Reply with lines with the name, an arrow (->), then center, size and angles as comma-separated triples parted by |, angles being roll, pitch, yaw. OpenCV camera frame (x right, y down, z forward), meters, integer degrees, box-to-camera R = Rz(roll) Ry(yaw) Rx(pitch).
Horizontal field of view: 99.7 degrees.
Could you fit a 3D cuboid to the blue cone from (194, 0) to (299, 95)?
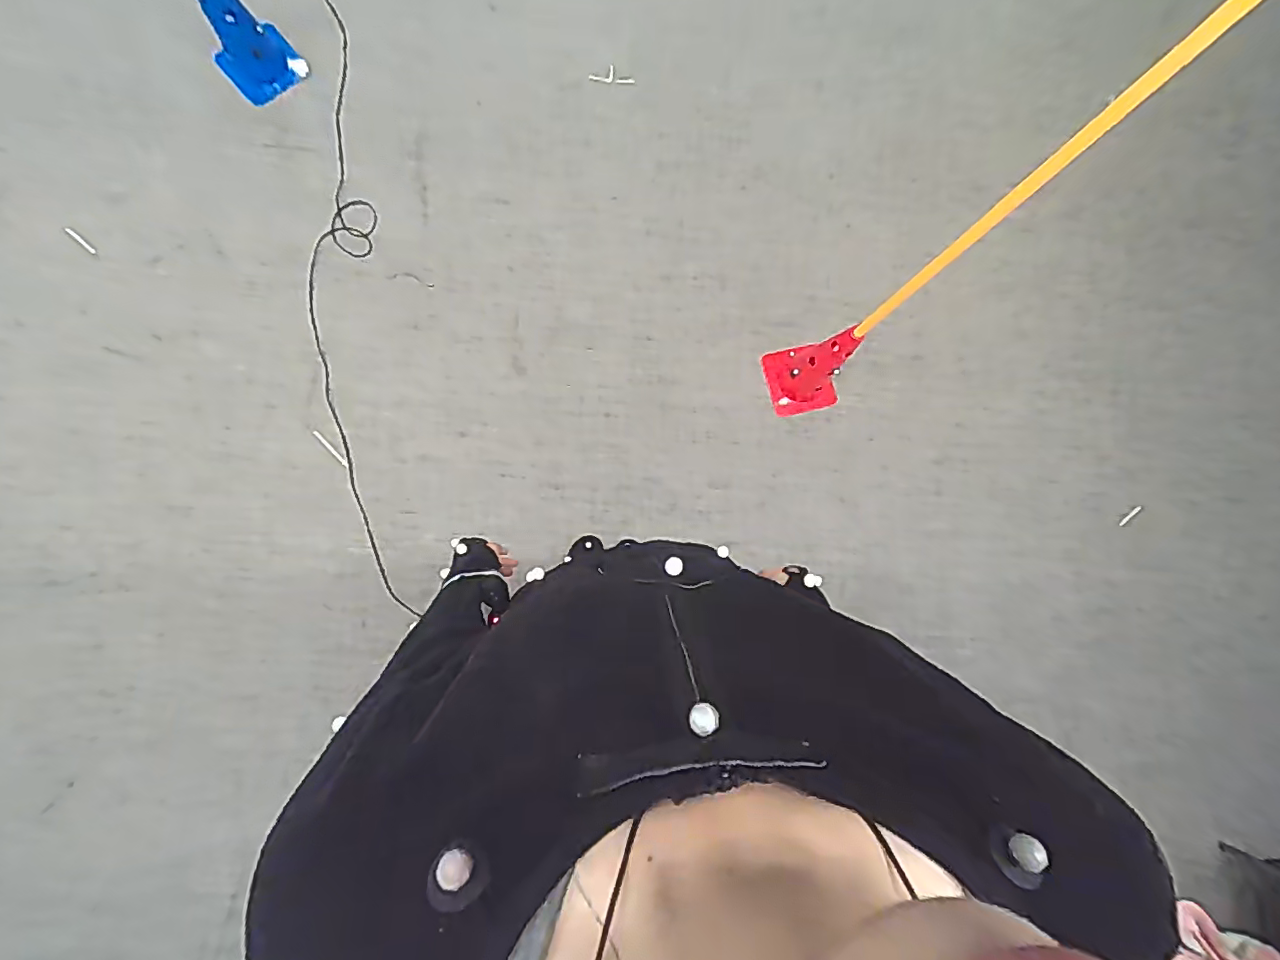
blue cone -> -1.082, -1.223, 1.384 | 0.193, 0.380, 0.192 | -43, 90, -7
